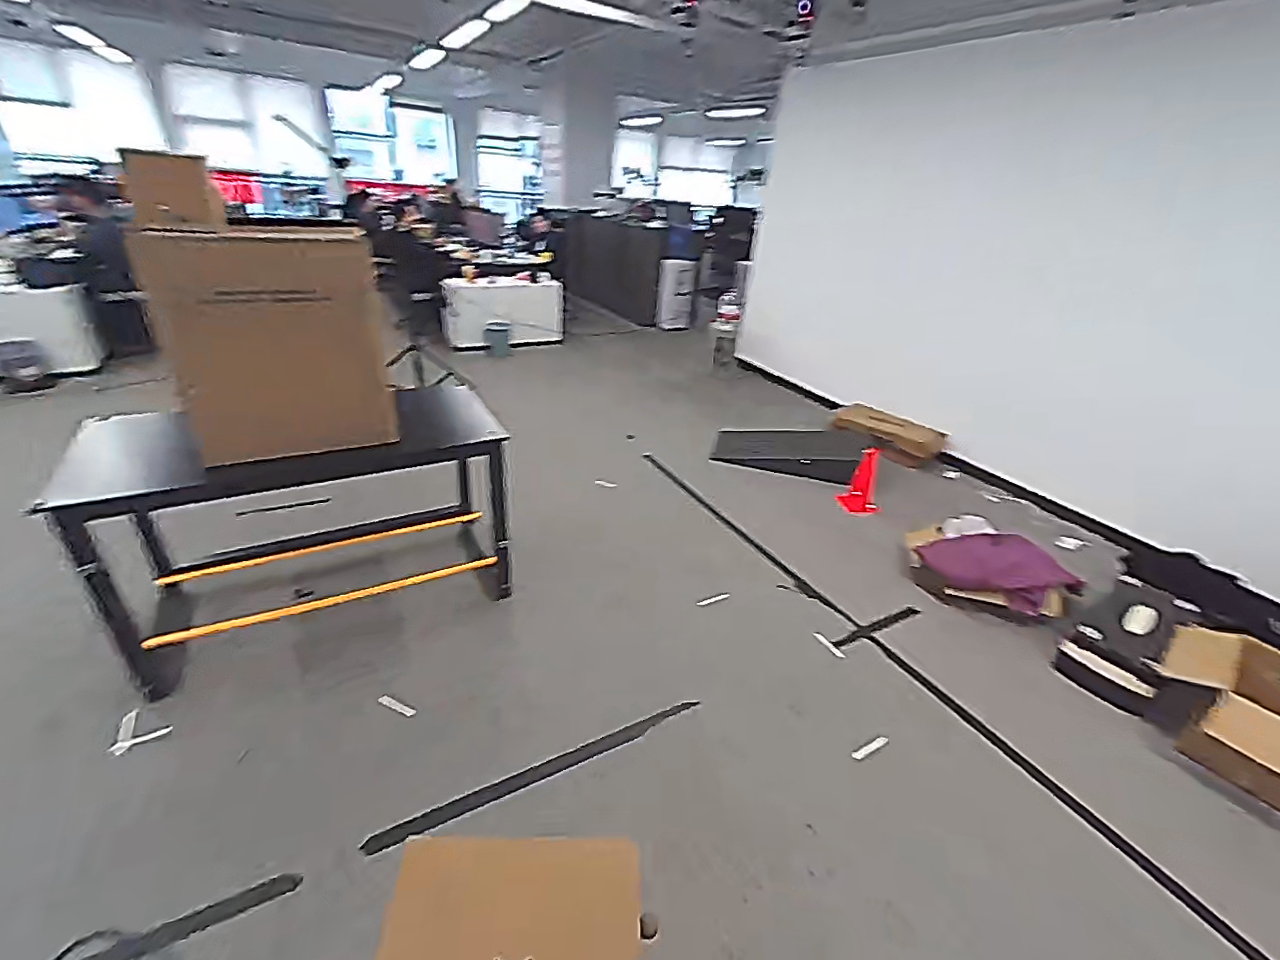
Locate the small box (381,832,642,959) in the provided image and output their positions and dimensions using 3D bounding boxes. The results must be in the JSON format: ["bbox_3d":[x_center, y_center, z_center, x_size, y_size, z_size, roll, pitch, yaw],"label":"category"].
[{"bbox_3d":[-0.089,0.373,0.378,0.168,0.176,0.179,3,41,-6],"label":"small box"}]

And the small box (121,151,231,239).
[{"bbox_3d":[-1.142,-0.709,1.347,0.168,0.176,0.179,-11,34,-29],"label":"small box"}]
